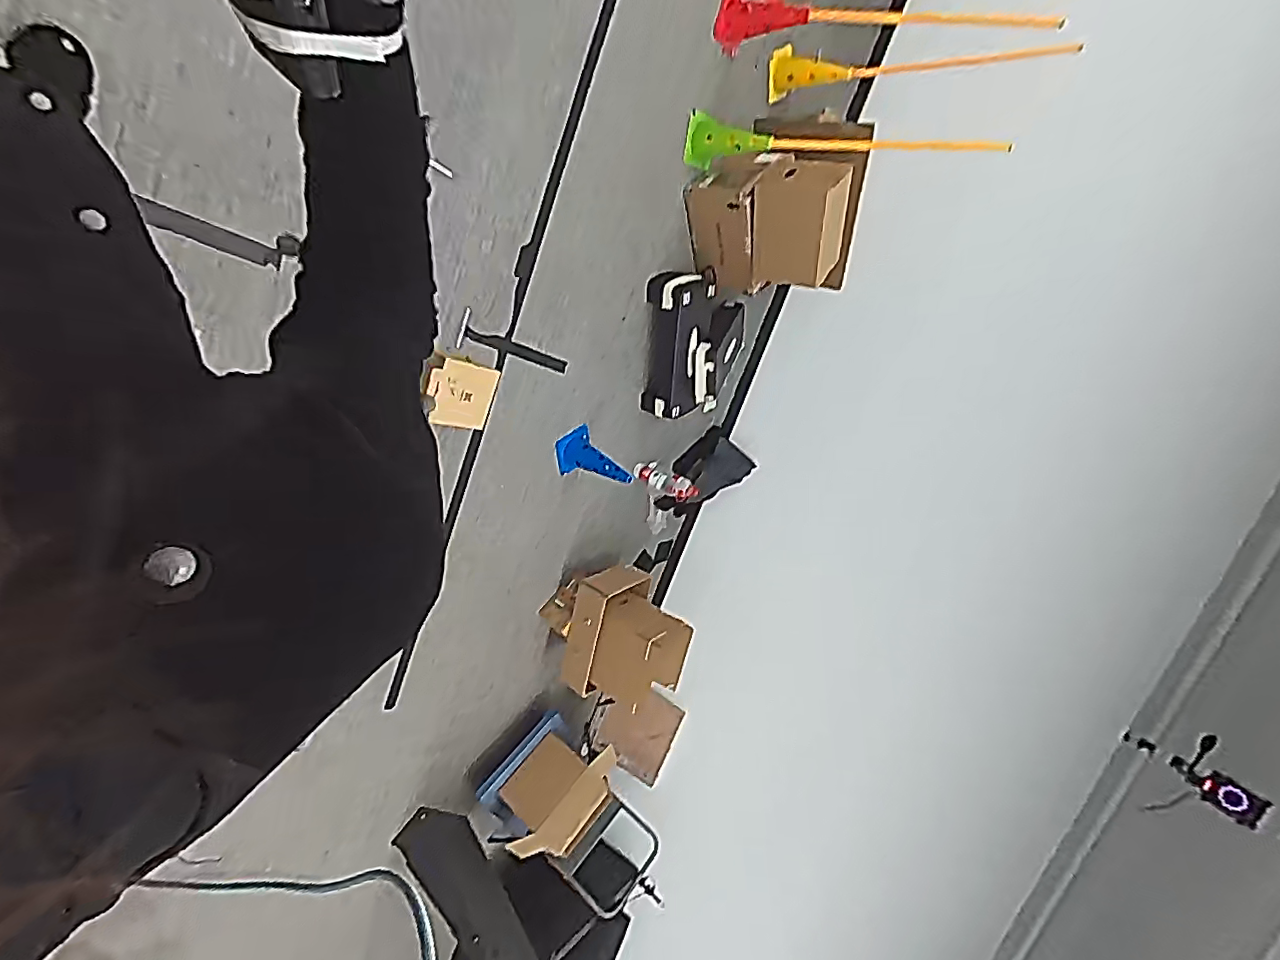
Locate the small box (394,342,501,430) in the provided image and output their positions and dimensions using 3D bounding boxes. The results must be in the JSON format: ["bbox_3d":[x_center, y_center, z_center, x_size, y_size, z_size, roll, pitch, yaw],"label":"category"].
[{"bbox_3d":[-0.500,-0.244,1.404,0.179,0.176,0.168,5,109,-56],"label":"small box"}]
